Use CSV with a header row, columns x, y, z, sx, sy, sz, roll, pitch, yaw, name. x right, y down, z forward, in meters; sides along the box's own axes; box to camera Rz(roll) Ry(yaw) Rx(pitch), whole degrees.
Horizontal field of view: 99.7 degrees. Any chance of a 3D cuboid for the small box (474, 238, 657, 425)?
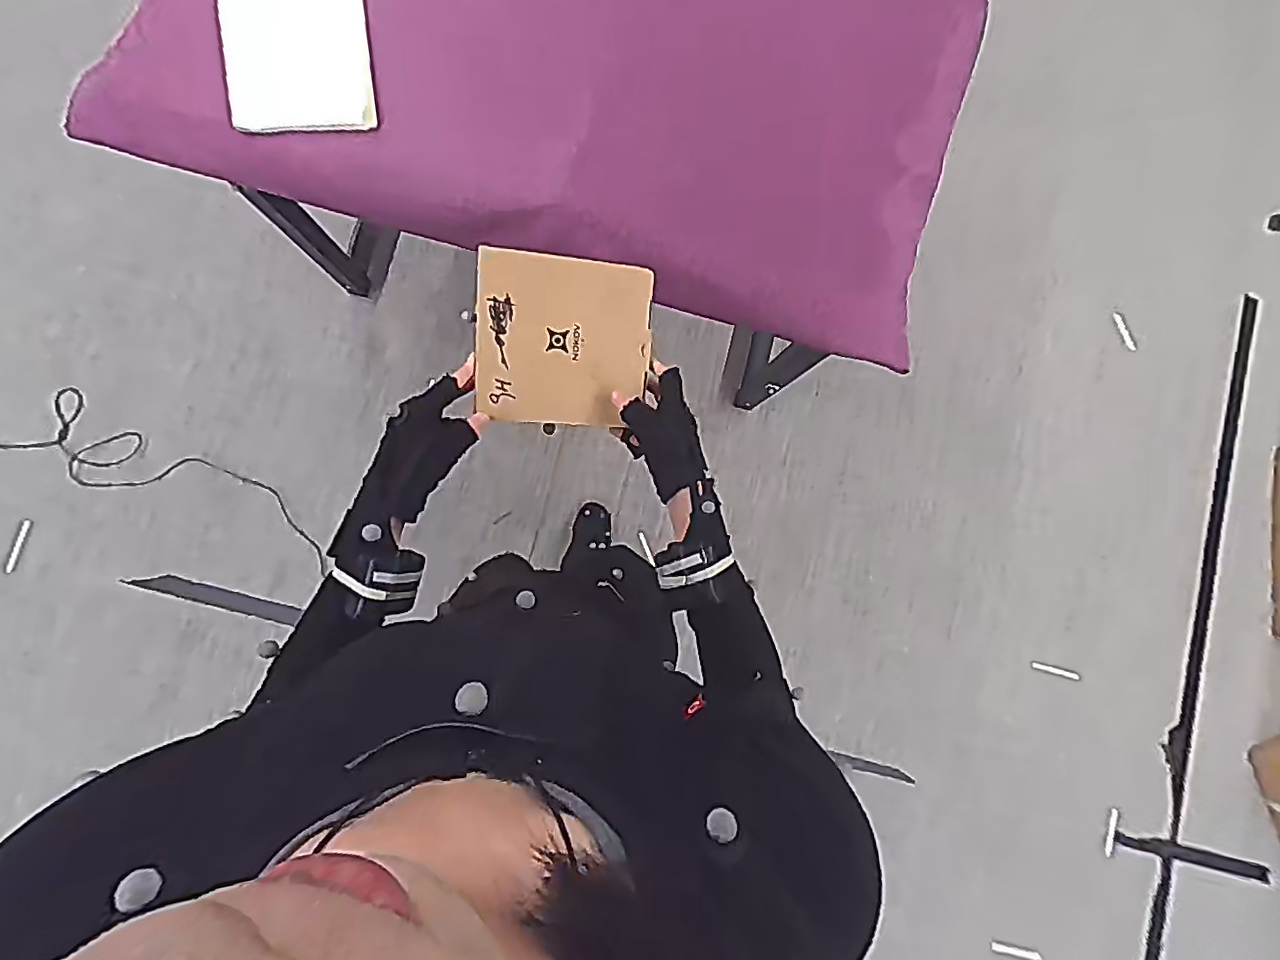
x,y,z,sx,sy,sz,roll,pitch,yaw,name
-0.093,-0.153,0.610,0.179,0.176,0.168,1,97,-16,small box
